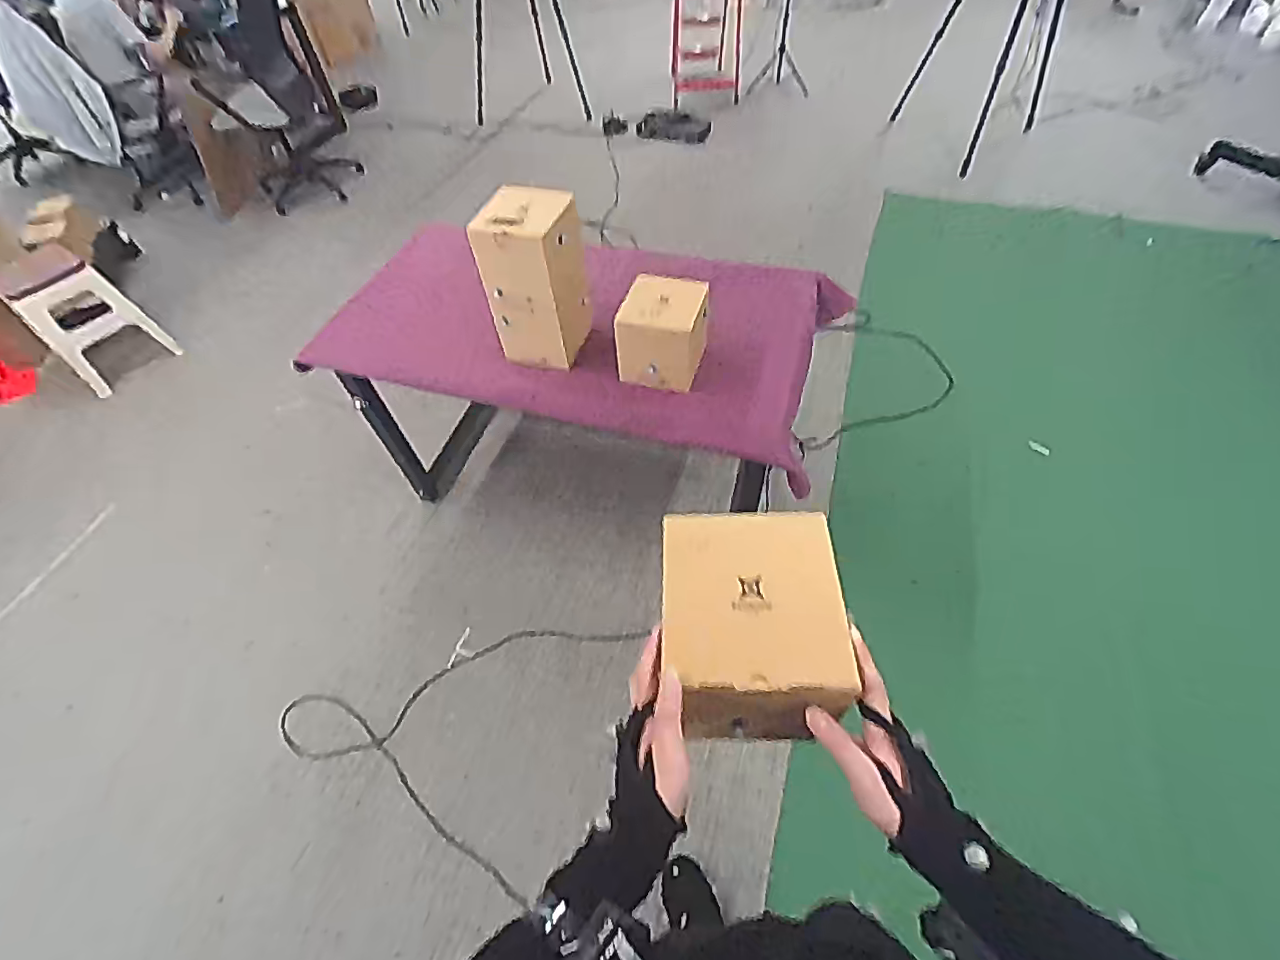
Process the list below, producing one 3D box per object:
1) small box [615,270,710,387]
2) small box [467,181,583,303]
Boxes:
[{"bbox_3d":[0.052,-0.337,1.209,0.168,0.176,0.179,13,55,13],"label":"small box"},{"bbox_3d":[-0.230,-0.498,1.140,0.168,0.176,0.179,13,55,12],"label":"small box"}]
